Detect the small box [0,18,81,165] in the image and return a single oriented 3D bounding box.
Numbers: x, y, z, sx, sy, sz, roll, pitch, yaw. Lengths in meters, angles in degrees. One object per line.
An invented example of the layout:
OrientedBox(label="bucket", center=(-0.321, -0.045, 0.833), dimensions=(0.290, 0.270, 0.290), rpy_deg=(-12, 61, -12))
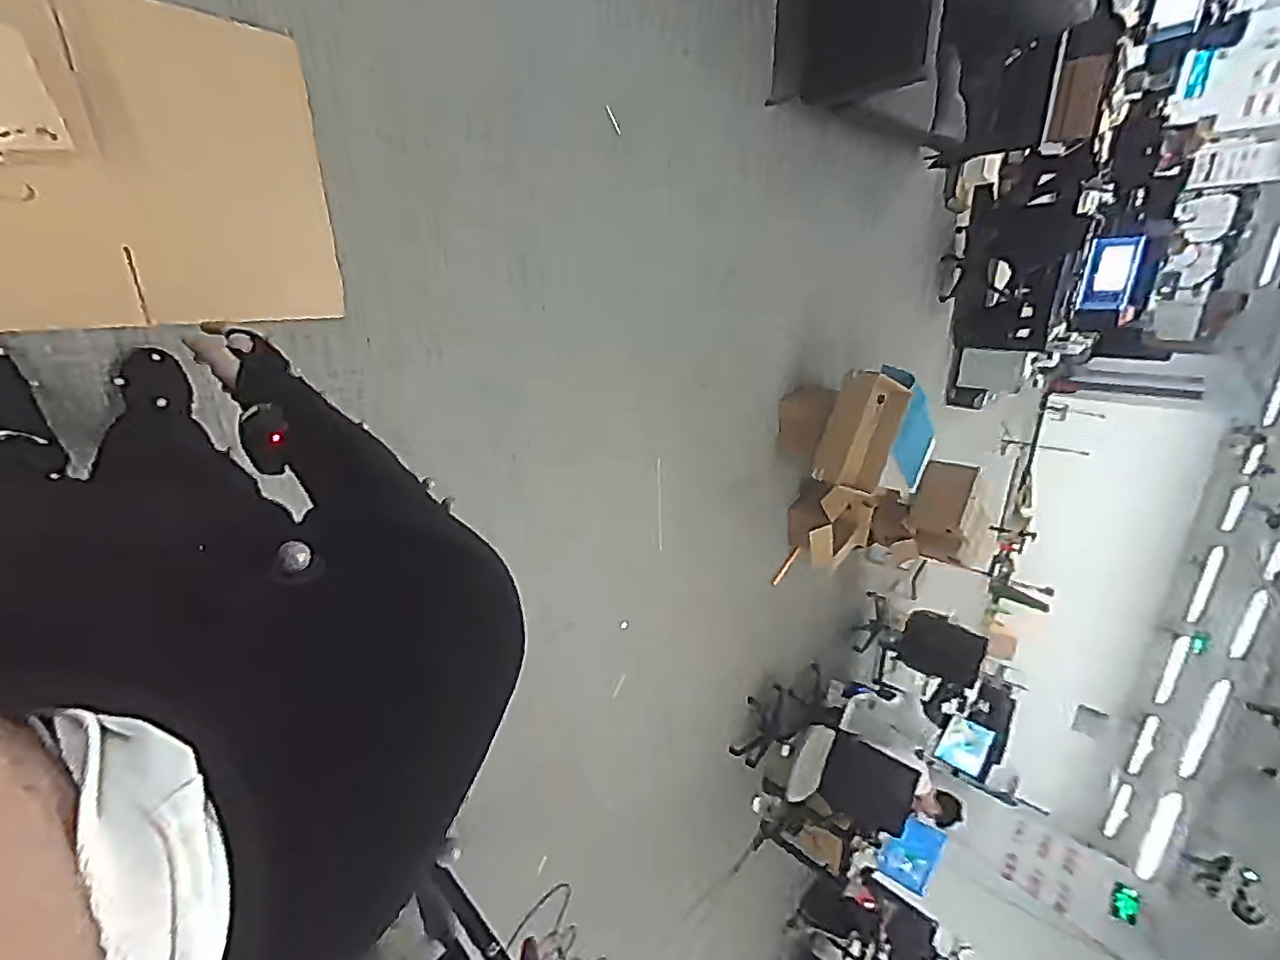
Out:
OrientedBox(label="small box", center=(-1.078, -0.634, 0.890), dimensions=(0.168, 0.176, 0.179), rpy_deg=(-29, 123, -39))
